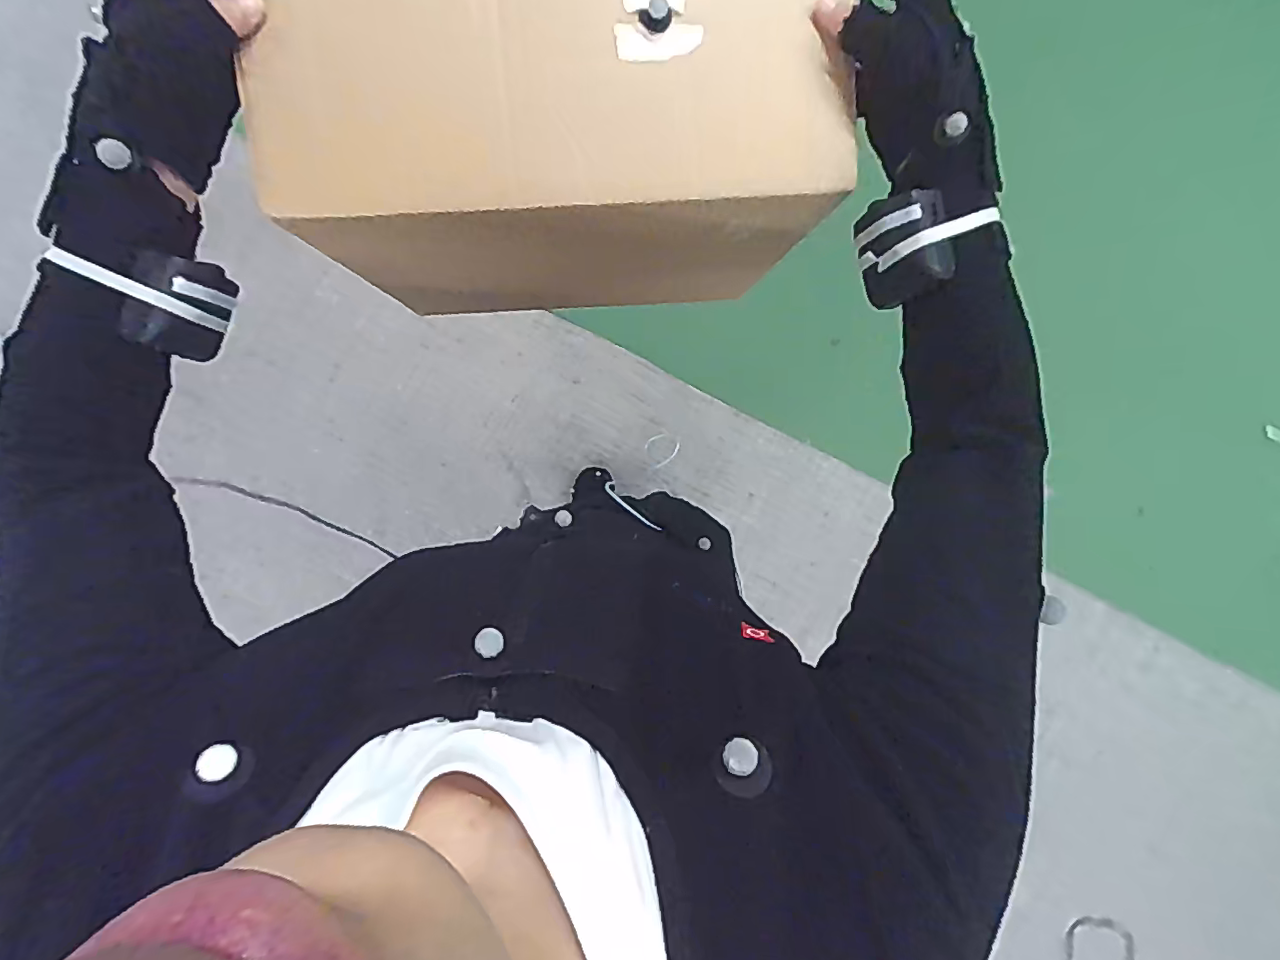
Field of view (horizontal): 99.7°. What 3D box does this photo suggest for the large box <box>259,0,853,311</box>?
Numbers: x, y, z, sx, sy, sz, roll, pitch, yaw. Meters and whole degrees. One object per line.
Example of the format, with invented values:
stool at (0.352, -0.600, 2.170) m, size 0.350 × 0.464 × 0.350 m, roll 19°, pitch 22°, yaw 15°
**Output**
large box at (-0.067, -0.360, 0.513) m, size 0.408 × 0.320 × 0.320 m, roll -4°, pitch 95°, yaw -6°
